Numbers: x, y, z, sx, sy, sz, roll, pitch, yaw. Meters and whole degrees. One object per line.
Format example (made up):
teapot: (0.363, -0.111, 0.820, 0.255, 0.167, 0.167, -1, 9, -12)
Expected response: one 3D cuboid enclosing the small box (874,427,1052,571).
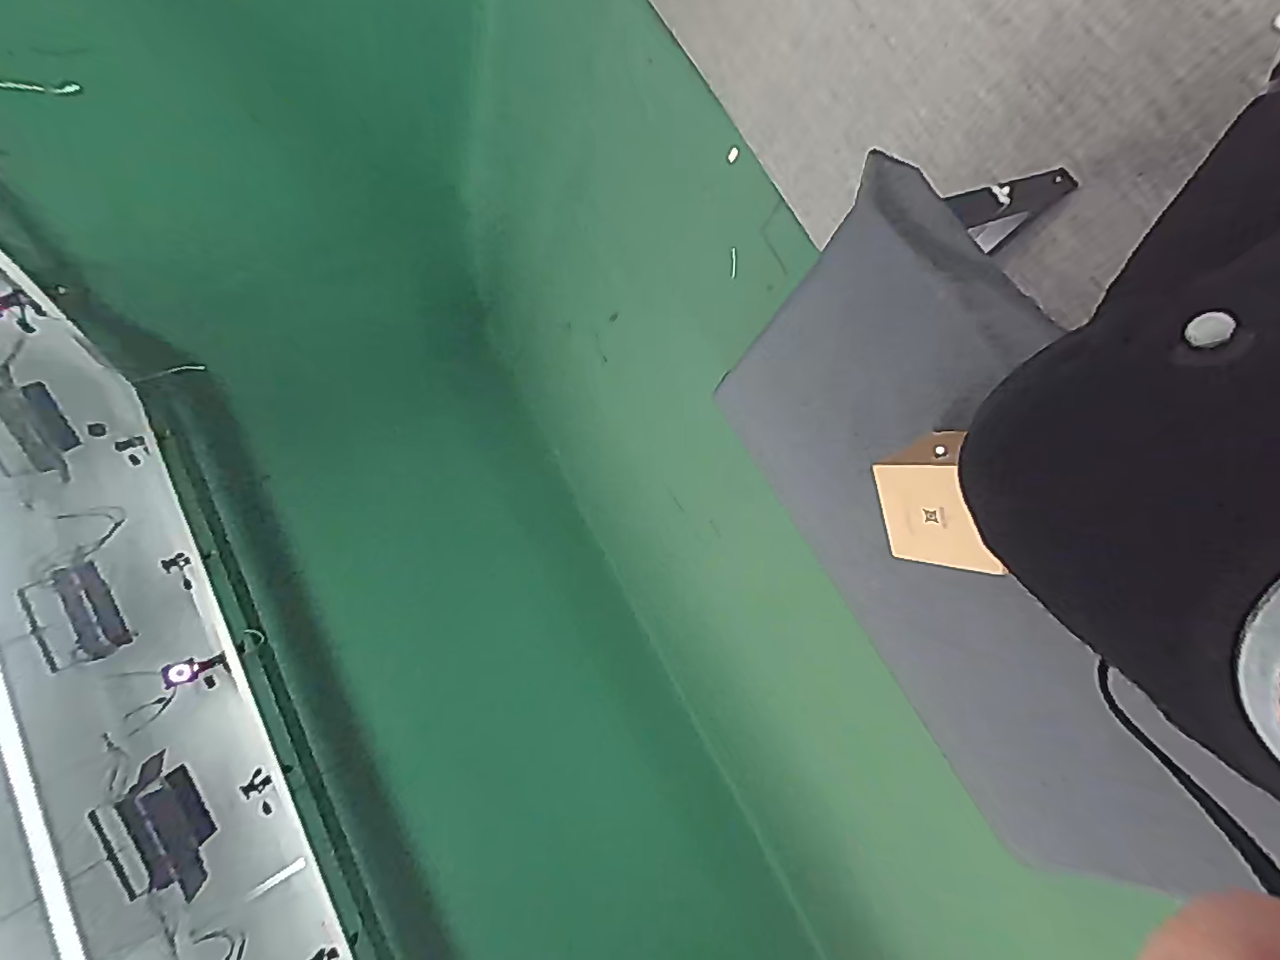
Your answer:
small box: (0.509, 0.021, 0.847, 0.179, 0.176, 0.168, 4, 114, 62)
